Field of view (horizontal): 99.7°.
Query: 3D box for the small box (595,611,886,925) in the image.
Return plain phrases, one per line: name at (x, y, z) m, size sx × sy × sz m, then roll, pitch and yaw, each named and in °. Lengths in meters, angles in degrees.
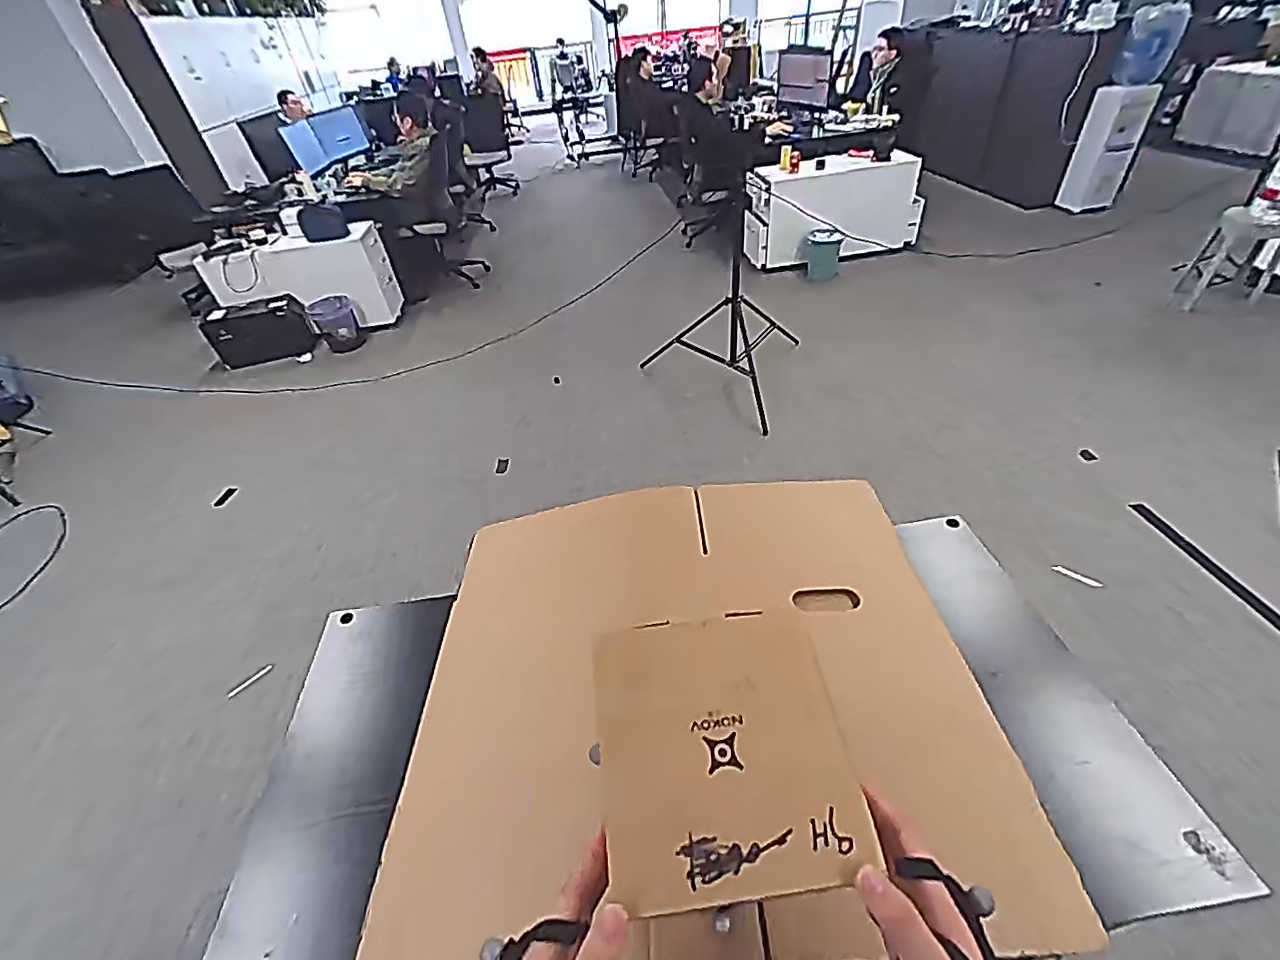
small box at (0.056, 0.227, 0.425) m, size 0.168 × 0.176 × 0.179 m, roll -7°, pitch 51°, yaw -3°
